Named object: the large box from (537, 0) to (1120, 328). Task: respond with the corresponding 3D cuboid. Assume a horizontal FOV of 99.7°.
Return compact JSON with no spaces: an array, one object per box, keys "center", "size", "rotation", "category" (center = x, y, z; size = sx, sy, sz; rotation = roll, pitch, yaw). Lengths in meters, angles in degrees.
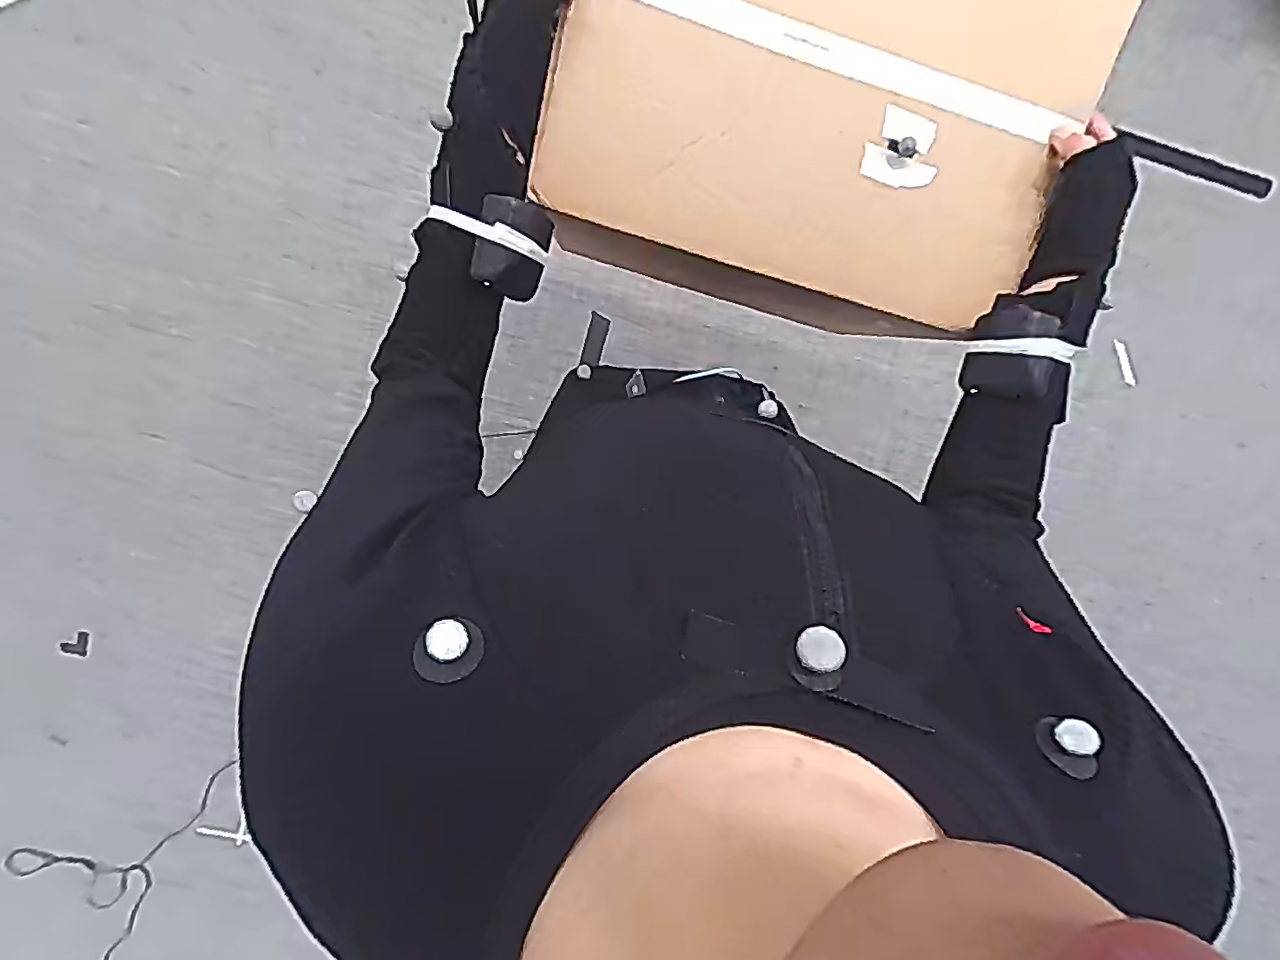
[{"center":[0.133,-0.360,0.548],"size":[0.408,0.320,0.320],"rotation":[13,107,-8],"category":"large box"}]
